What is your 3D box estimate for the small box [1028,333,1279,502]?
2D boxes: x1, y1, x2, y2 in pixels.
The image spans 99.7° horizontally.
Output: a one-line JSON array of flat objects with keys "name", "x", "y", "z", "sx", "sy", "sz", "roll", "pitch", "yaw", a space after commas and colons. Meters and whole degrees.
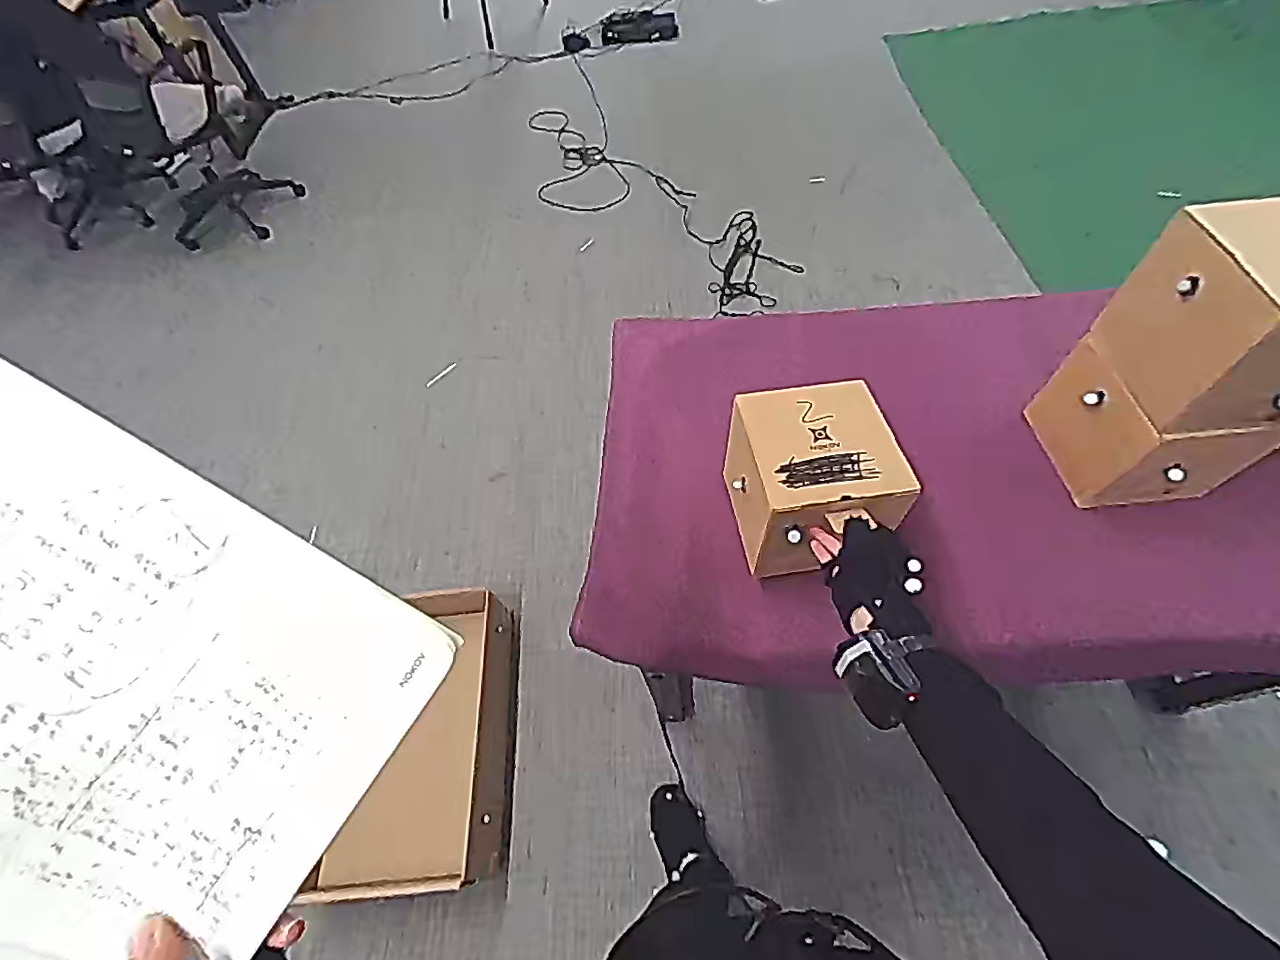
[{"name": "small box", "x": 0.669, "y": -0.081, "z": 0.716, "sx": 0.168, "sy": 0.176, "sz": 0.179, "roll": -6, "pitch": 57, "yaw": 3}]

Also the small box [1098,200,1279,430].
[{"name": "small box", "x": 0.654, "y": -0.174, "z": 0.581, "sx": 0.168, "sy": 0.176, "sz": 0.179, "roll": -3, "pitch": 57, "yaw": 5}]
